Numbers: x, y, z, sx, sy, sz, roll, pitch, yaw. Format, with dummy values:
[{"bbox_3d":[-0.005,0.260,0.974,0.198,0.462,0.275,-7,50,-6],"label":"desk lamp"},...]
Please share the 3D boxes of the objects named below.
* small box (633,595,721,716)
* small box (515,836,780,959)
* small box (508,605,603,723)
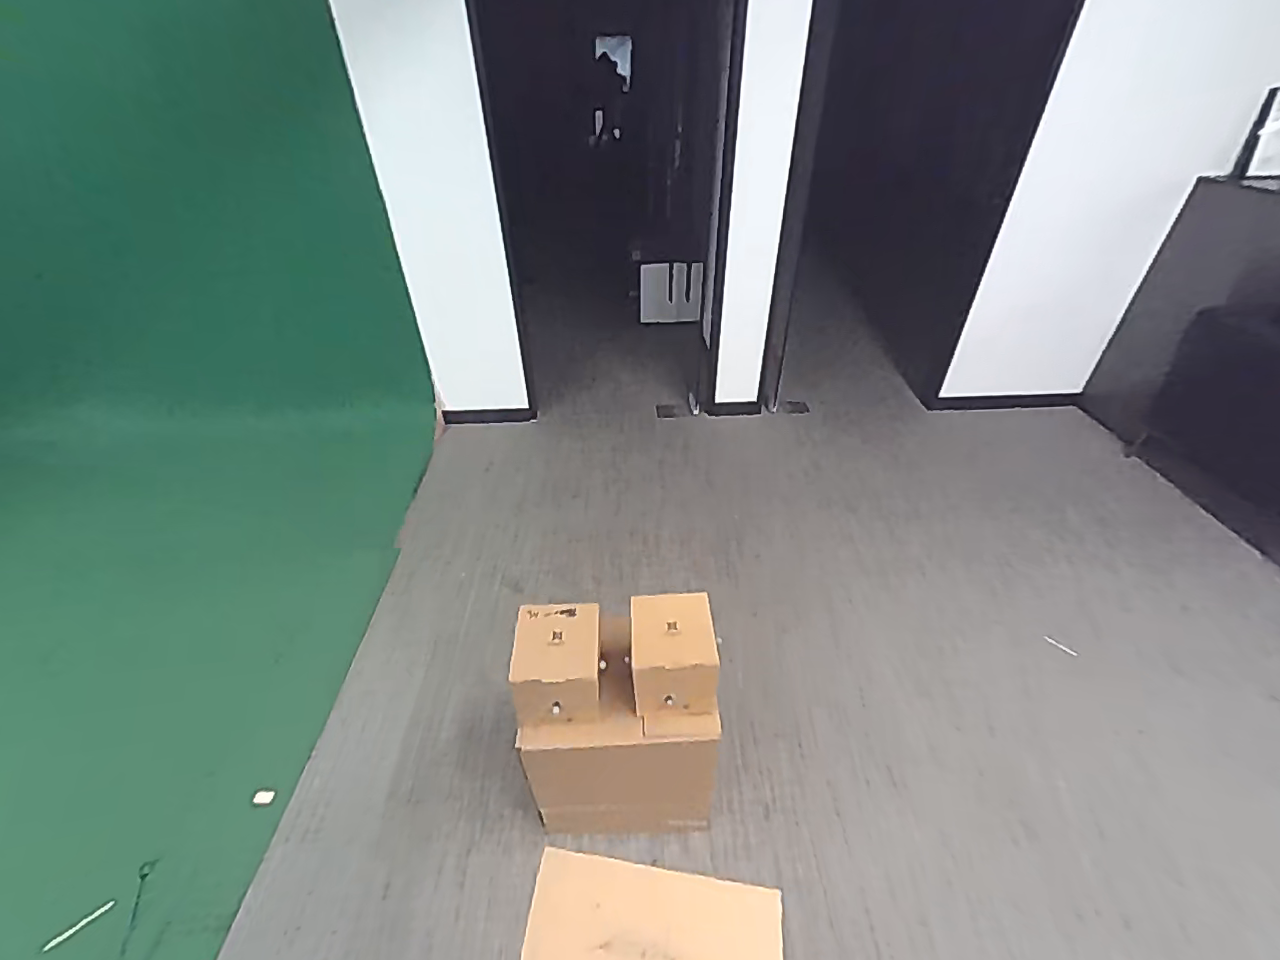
[{"bbox_3d":[0.069,0.361,1.119,0.168,0.176,0.179,-3,38,-1],"label":"small box"},{"bbox_3d":[-0.010,0.373,0.374,0.168,0.176,0.179,12,50,-1],"label":"small box"},{"bbox_3d":[-0.162,0.378,1.101,0.168,0.176,0.179,-1,40,-2],"label":"small box"}]
